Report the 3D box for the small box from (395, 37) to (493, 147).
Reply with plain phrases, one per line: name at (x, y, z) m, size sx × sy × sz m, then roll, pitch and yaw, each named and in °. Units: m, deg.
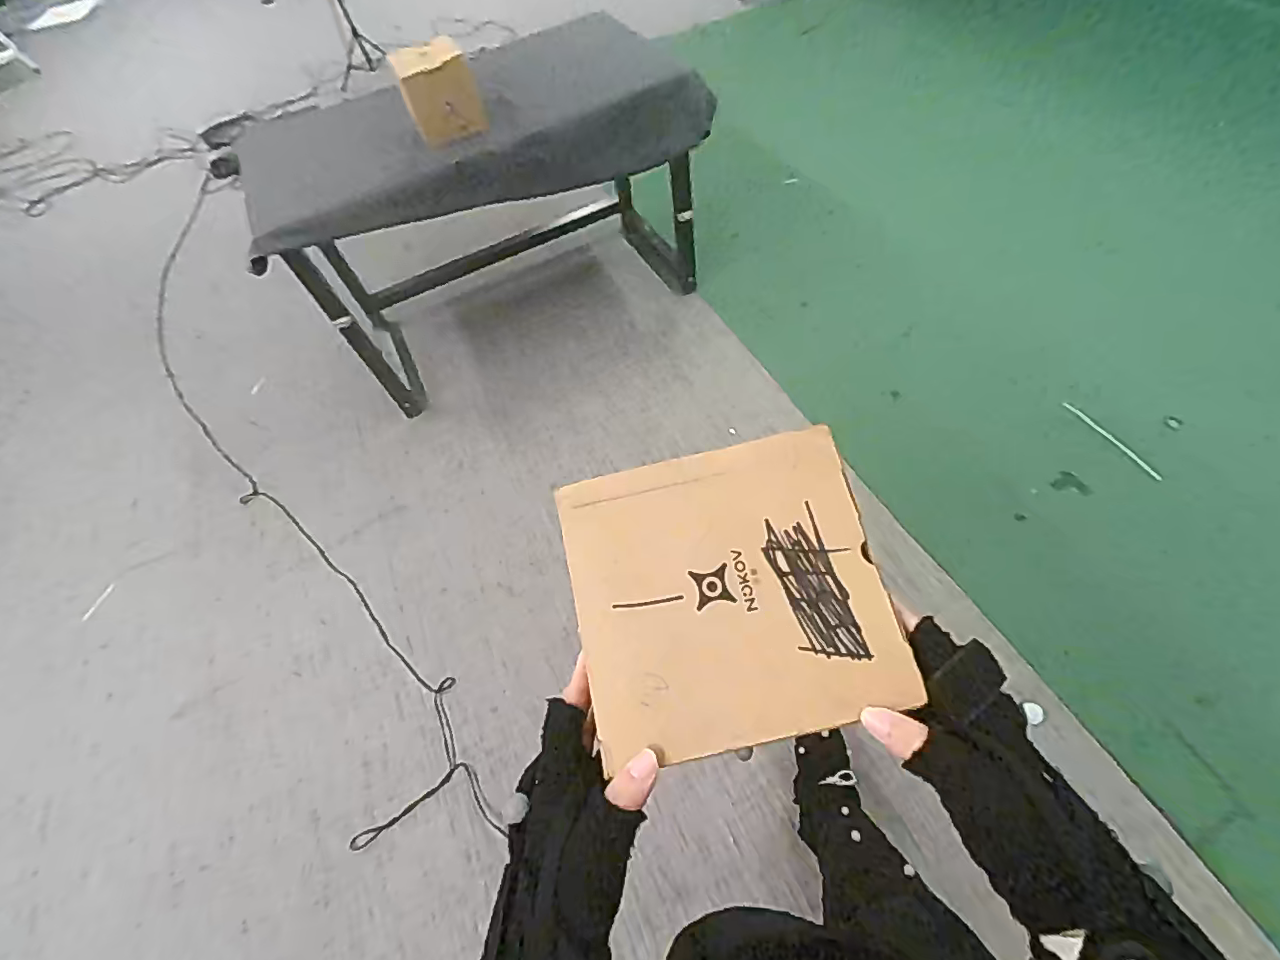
small box at (-0.506, -1.002, 1.408) m, size 0.168 × 0.176 × 0.179 m, roll -26°, pitch 58°, yaw -7°
